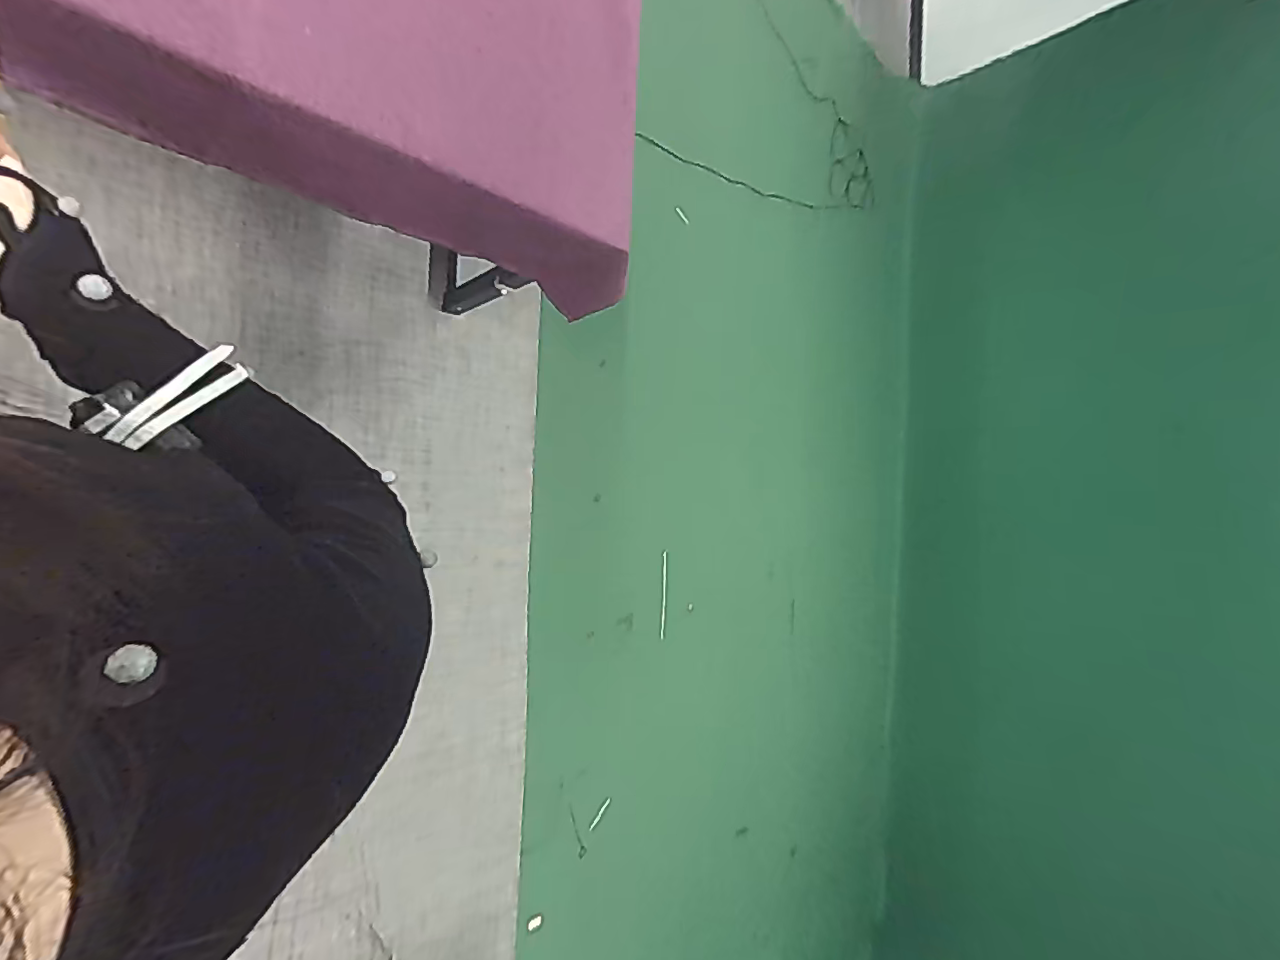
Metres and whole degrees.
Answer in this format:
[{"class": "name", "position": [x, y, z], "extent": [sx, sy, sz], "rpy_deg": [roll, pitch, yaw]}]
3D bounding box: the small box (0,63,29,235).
[{"class": "small box", "position": [-0.531, -0.276, 0.339], "extent": [0.168, 0.176, 0.179], "rpy_deg": [-10, 97, -41]}]
